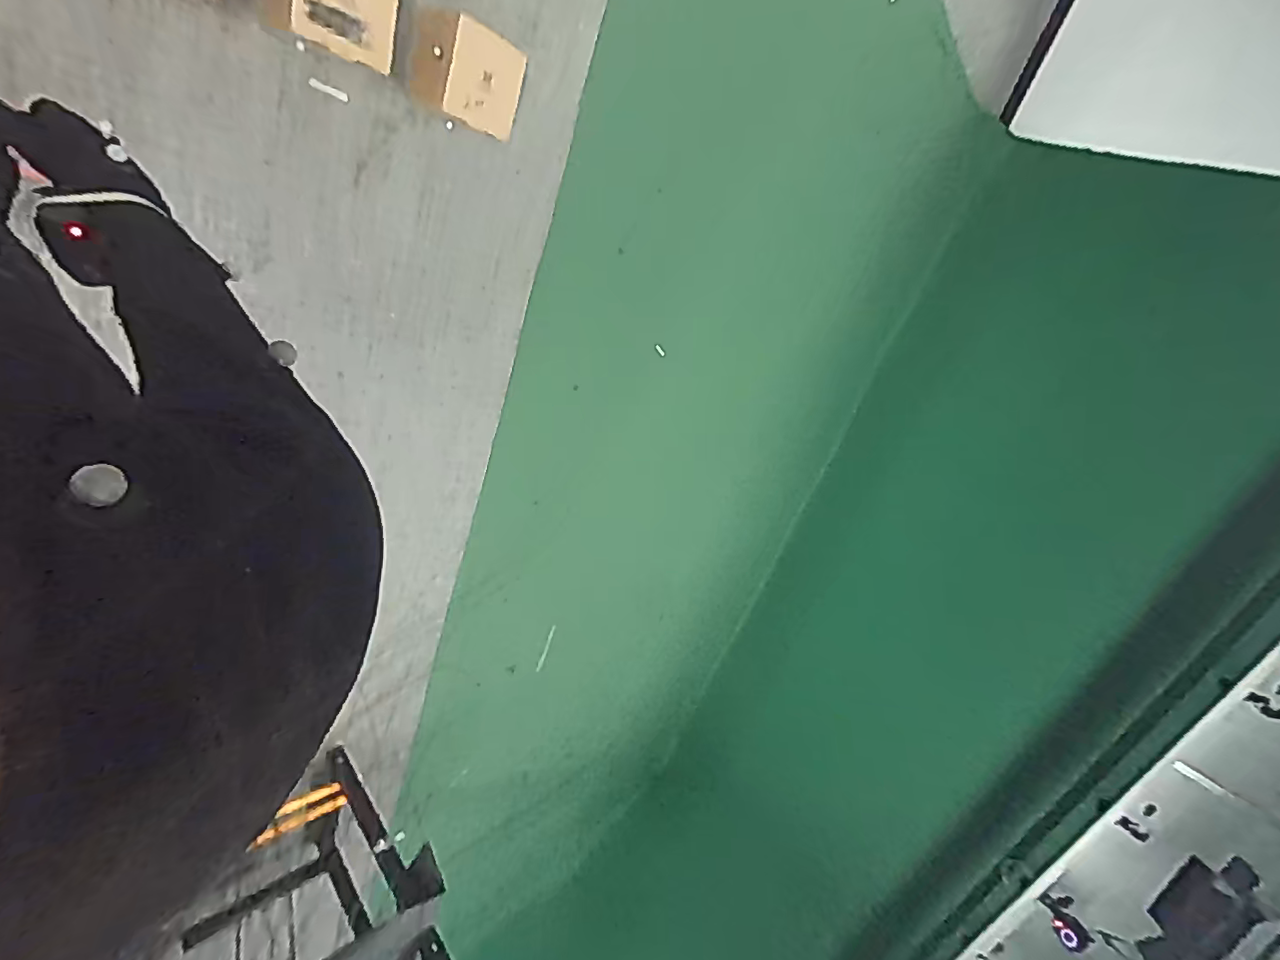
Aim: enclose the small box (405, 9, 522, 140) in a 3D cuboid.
[{"bbox_3d":[-0.391,-0.885,1.183,0.168,0.176,0.179,-4,123,-50],"label":"small box"}]
